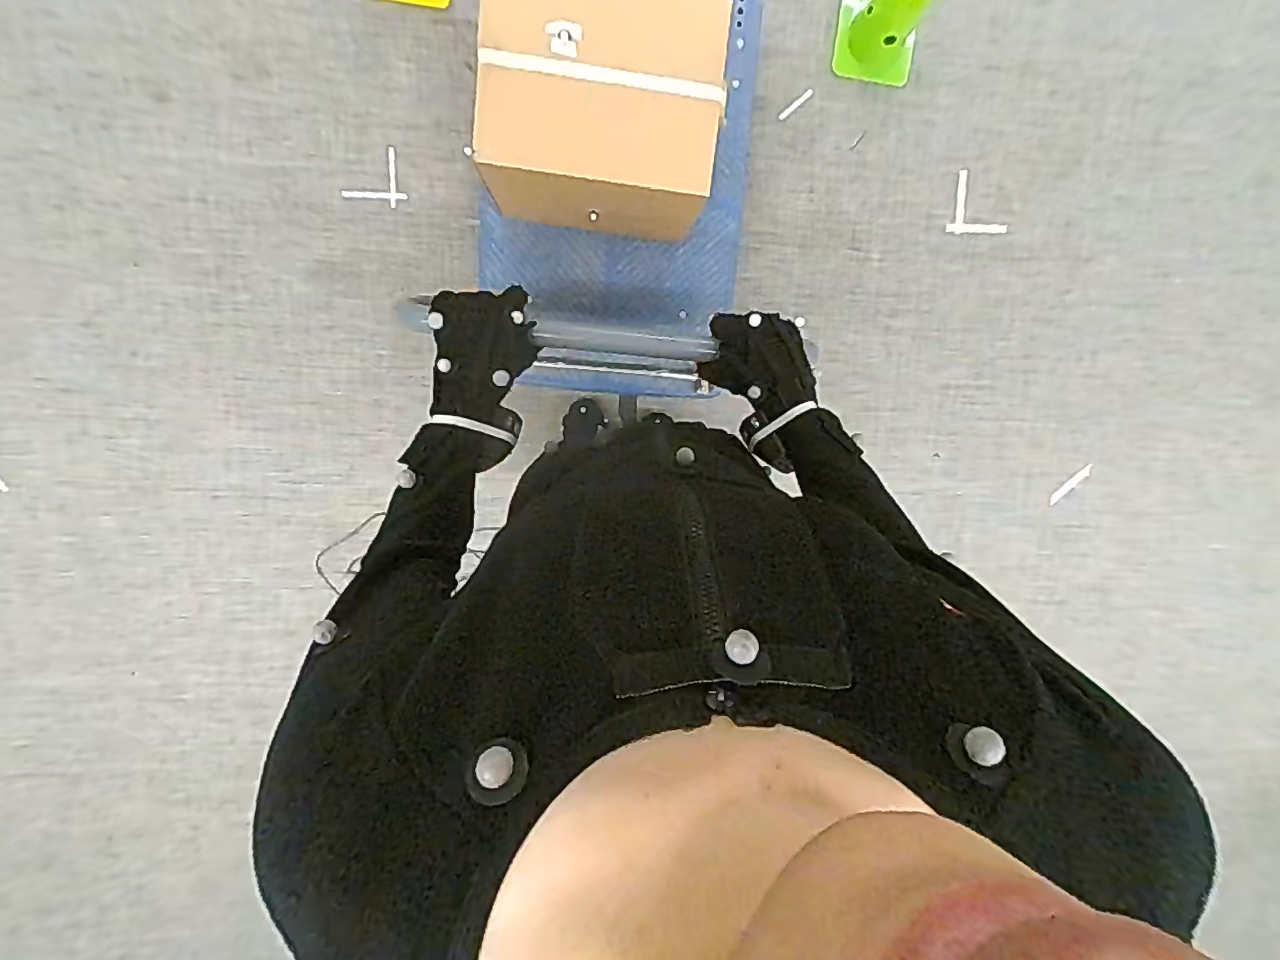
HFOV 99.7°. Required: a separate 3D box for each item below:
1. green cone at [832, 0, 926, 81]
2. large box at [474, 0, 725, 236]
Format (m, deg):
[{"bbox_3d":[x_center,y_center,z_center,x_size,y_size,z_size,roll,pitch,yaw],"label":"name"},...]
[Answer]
[{"bbox_3d":[0.601,-1.091,1.182,0.202,0.368,0.200,5,99,-7],"label":"green cone"},{"bbox_3d":[-0.076,-0.691,1.049,0.408,0.320,0.320,6,99,-5],"label":"large box"}]
